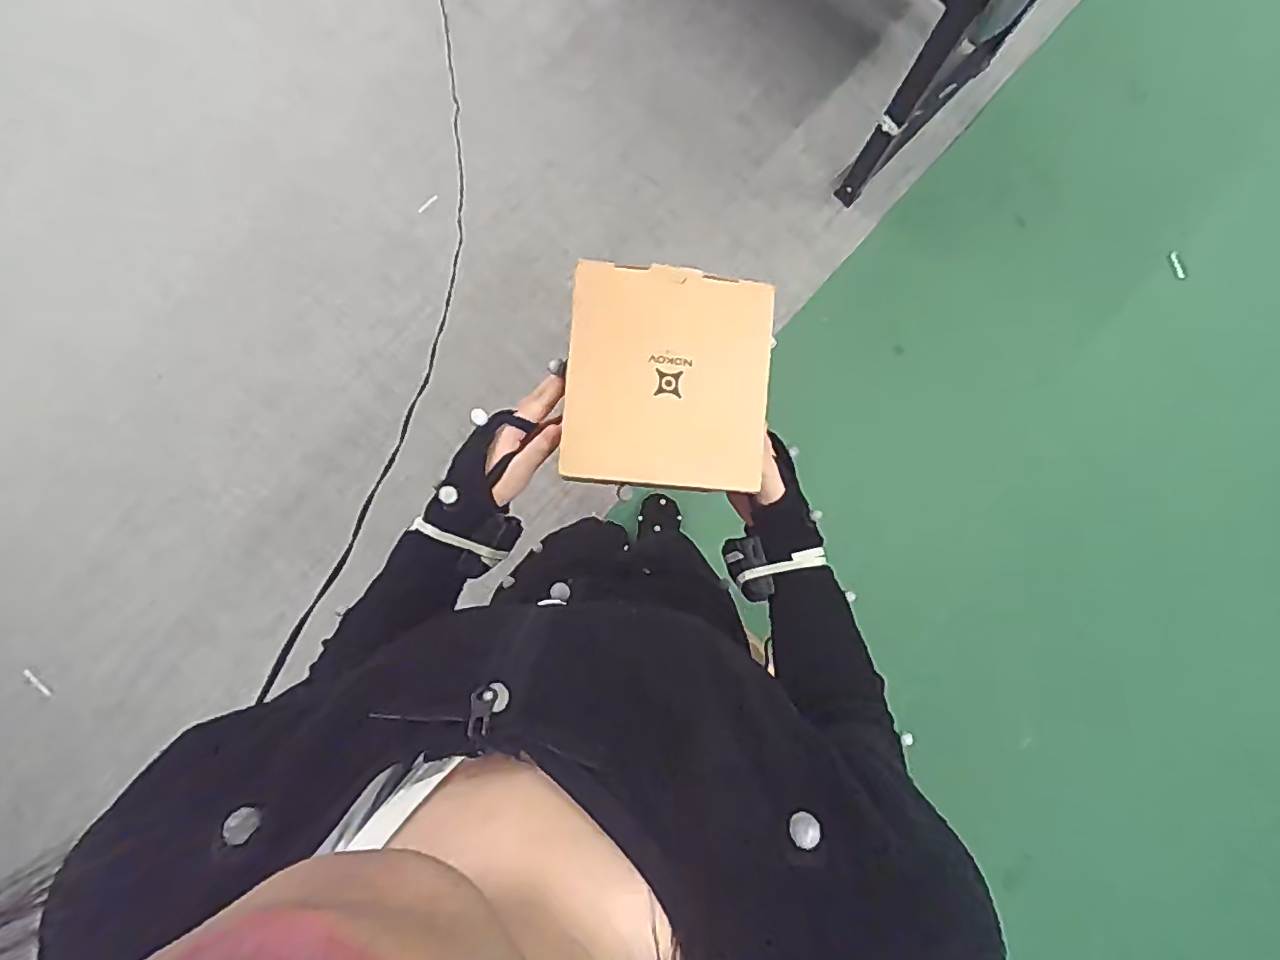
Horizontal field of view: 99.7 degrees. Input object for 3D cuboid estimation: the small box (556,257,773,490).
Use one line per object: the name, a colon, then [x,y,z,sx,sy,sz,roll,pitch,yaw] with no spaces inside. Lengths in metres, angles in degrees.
small box: [0.013,-0.083,0.517,0.168,0.176,0.179,5,87,-7]
